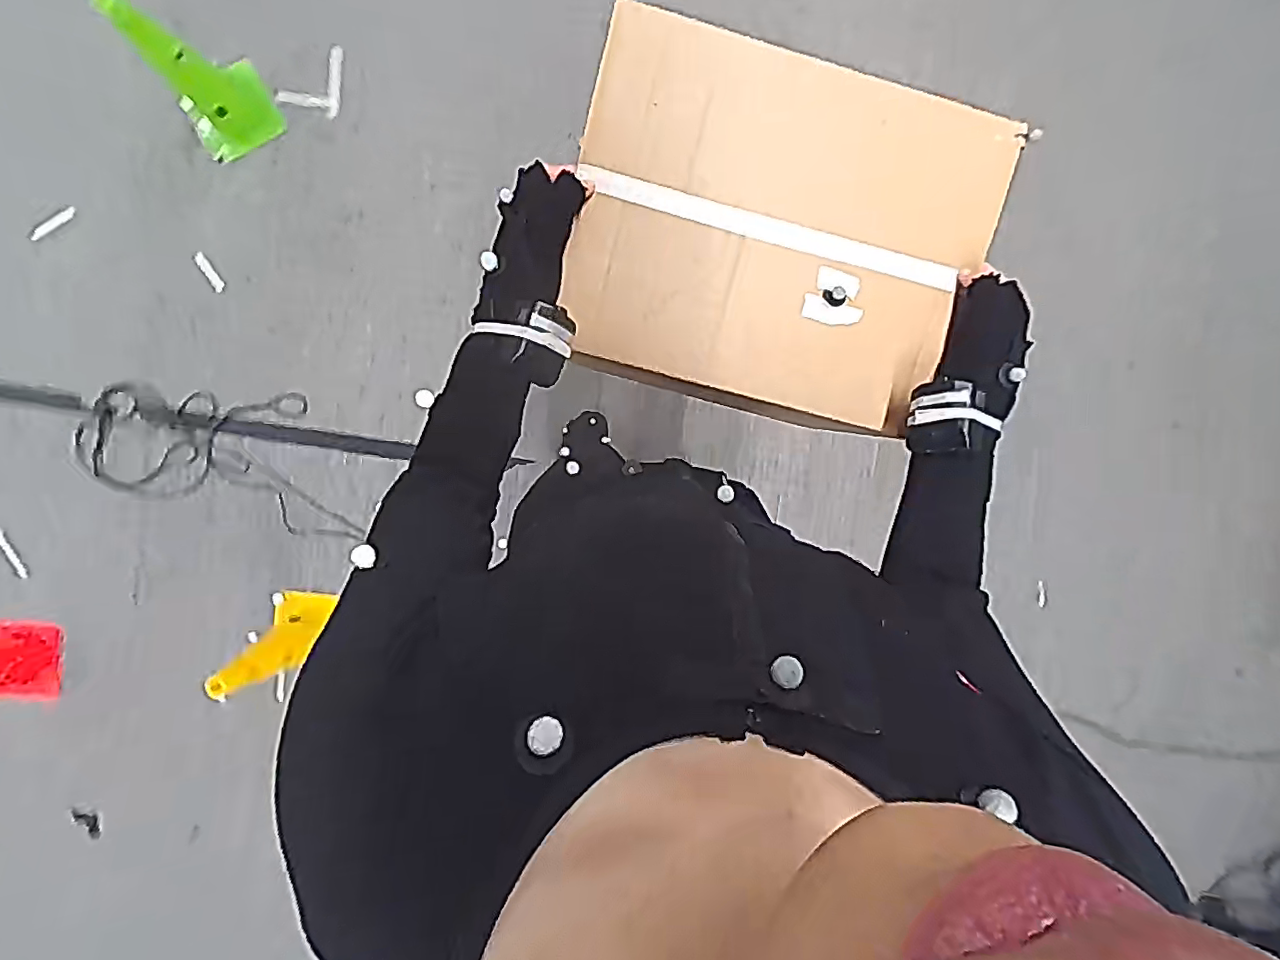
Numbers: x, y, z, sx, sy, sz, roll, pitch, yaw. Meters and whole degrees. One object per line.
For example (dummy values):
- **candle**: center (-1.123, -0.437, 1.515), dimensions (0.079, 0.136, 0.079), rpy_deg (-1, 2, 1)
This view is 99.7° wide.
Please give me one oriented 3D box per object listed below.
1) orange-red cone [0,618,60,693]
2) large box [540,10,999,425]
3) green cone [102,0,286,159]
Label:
- **orange-red cone**: center (-1.622, 0.476, 1.255), dimensions (0.199, 0.360, 0.198), rpy_deg (5, 94, -4)
- **large box**: center (0.115, -0.262, 0.671), dimensions (0.408, 0.320, 0.320), rpy_deg (13, 97, -5)
- **green cone**: center (-1.019, -0.938, 1.202), dimensions (0.200, 0.368, 0.202), rpy_deg (-30, 93, -1)
